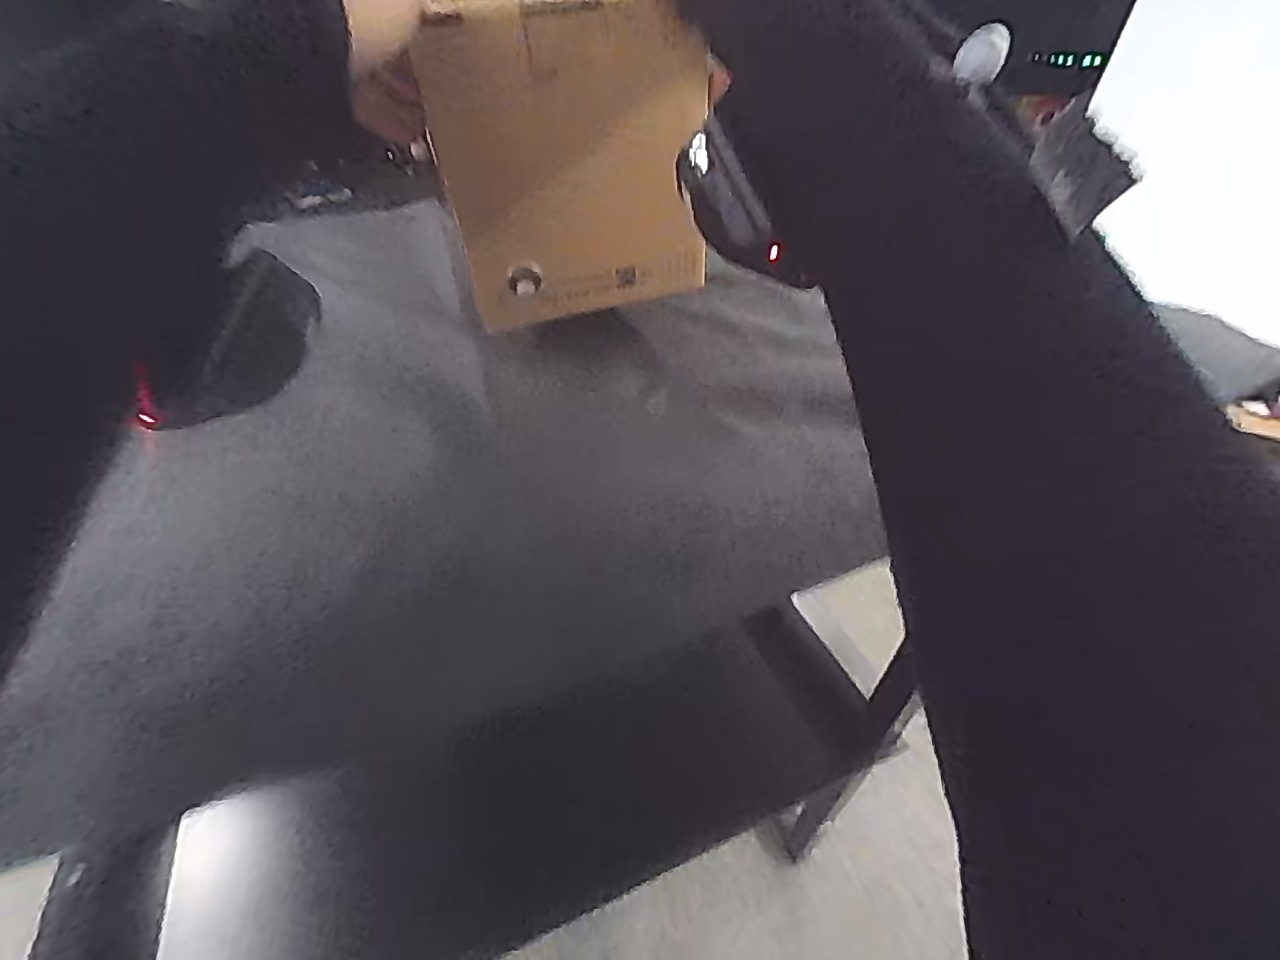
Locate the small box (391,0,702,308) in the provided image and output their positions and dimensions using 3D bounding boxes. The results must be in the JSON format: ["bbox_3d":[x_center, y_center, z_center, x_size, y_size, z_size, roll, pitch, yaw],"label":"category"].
[{"bbox_3d":[-0.061,-0.238,0.385,0.168,0.176,0.179,-16,45,-11],"label":"small box"}]
